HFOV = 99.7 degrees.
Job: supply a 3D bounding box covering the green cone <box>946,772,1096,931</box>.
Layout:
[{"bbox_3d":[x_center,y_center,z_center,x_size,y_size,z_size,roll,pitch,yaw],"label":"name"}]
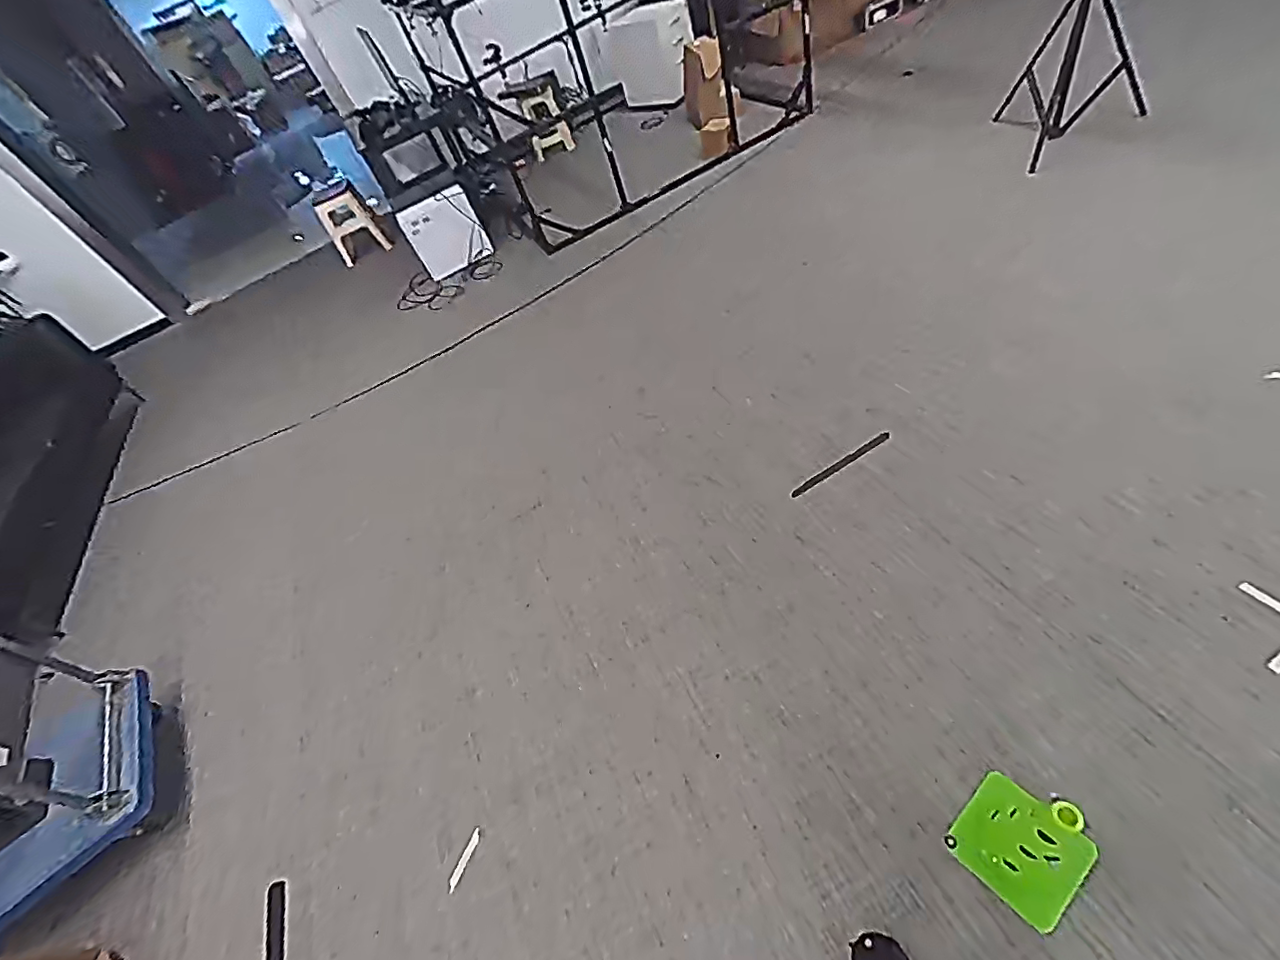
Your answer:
[{"bbox_3d":[0.697,0.611,0.936,0.202,0.368,0.200,-42,50,-17],"label":"green cone"}]
